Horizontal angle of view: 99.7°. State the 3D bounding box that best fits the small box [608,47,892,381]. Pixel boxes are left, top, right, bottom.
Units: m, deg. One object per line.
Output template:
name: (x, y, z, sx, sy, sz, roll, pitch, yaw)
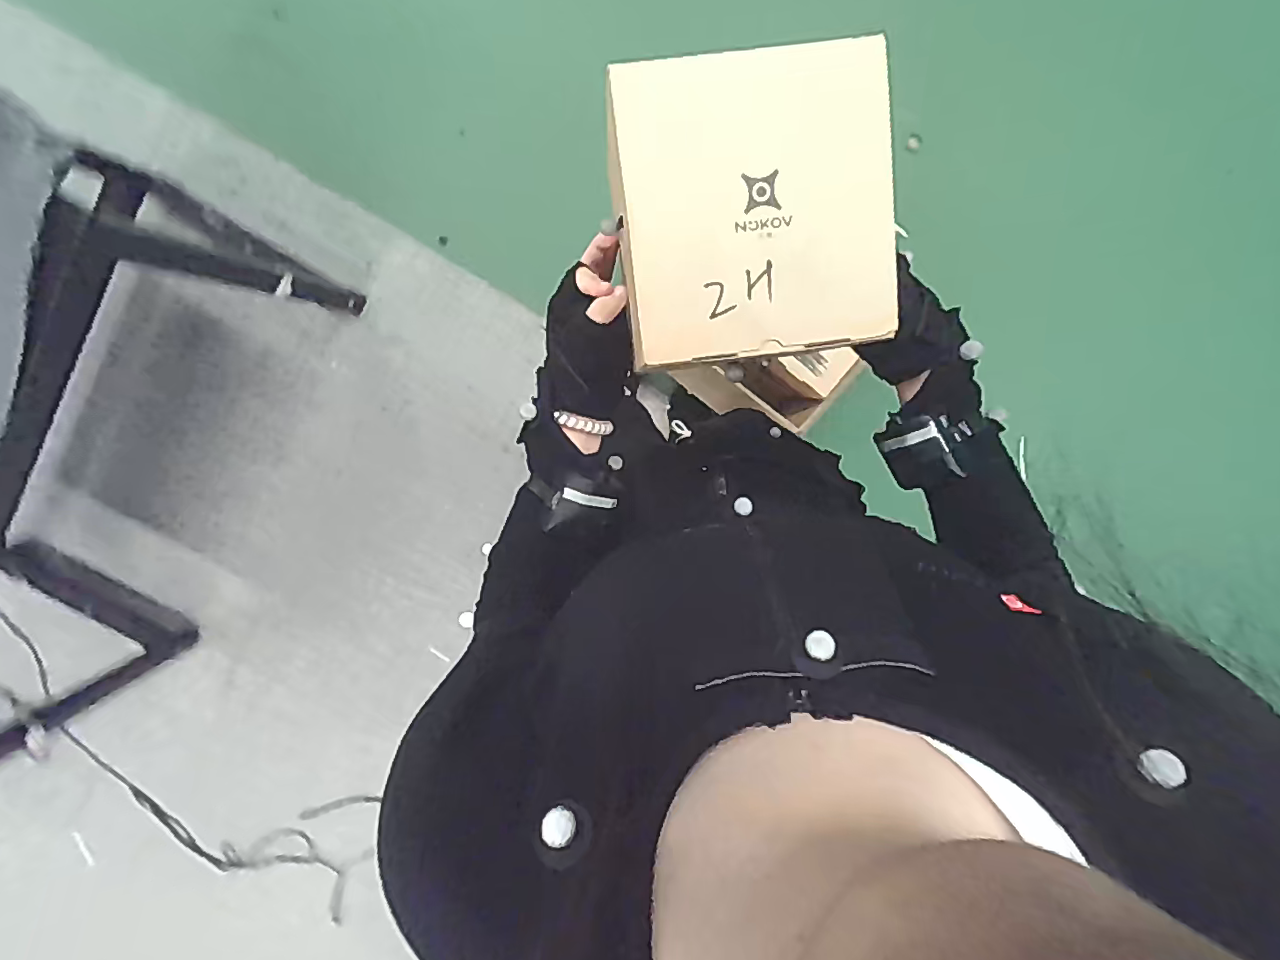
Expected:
small box: (0.066, -0.175, 0.412, 0.168, 0.176, 0.179, -8, 99, -1)
